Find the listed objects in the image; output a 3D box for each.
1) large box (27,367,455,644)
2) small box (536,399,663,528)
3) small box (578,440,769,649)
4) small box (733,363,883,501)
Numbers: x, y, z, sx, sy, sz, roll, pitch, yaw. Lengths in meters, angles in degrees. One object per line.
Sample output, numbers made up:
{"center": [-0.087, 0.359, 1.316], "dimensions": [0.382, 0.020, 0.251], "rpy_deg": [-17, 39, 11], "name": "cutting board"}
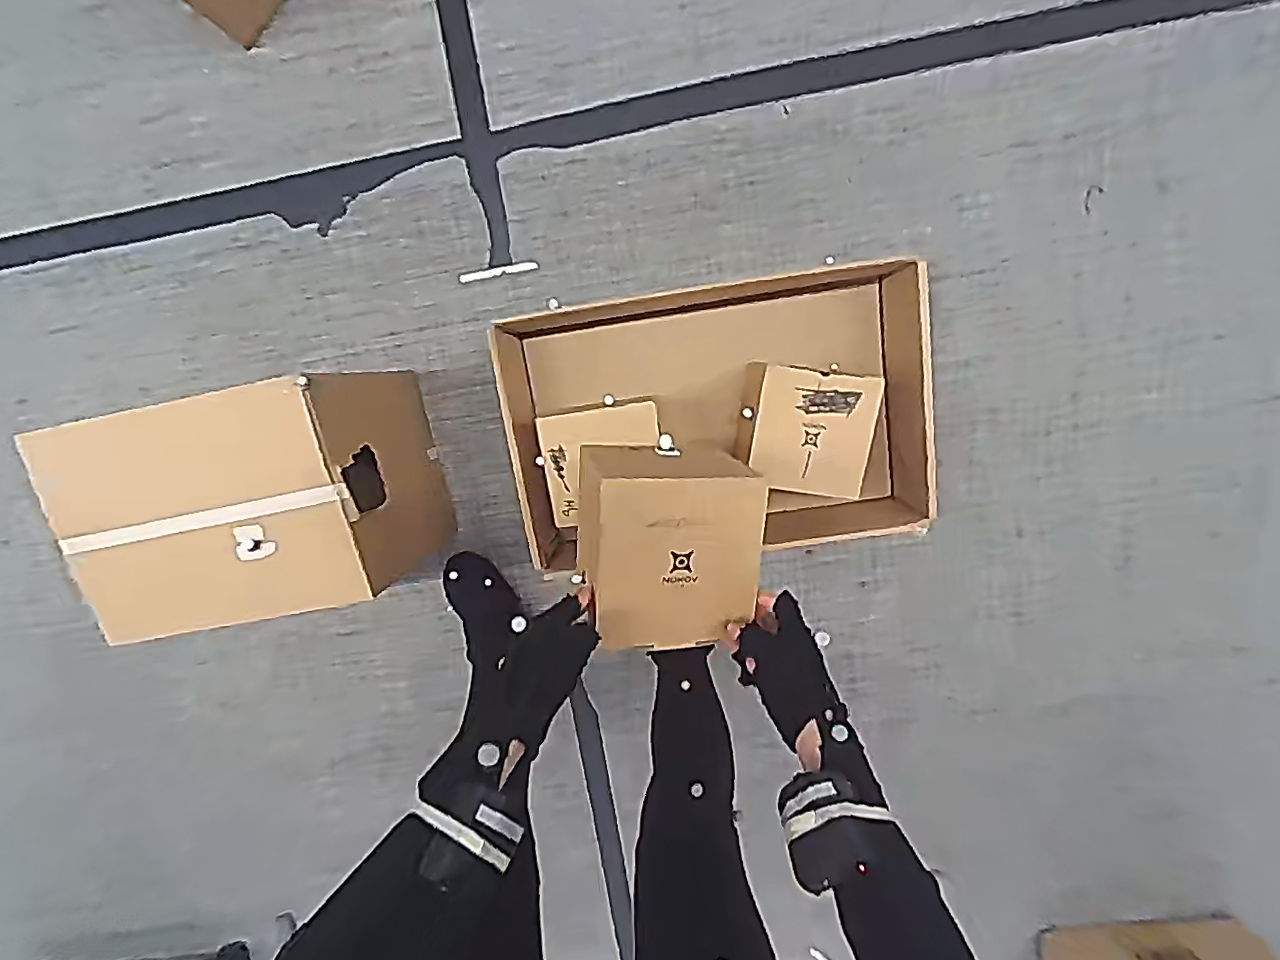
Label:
{"center": [-0.576, 0.016, 0.865], "dimensions": [0.408, 0.320, 0.320], "rpy_deg": [-12, 102, 4], "name": "large box"}
{"center": [-0.051, -0.034, 0.850], "dimensions": [0.179, 0.176, 0.168], "rpy_deg": [-8, 100, 2], "name": "small box"}
{"center": [0.023, 0.058, 0.591], "dimensions": [0.168, 0.176, 0.179], "rpy_deg": [-2, 104, -12], "name": "small box"}
{"center": [0.243, -0.081, 0.831], "dimensions": [0.168, 0.176, 0.179], "rpy_deg": [8, 103, 1], "name": "small box"}
